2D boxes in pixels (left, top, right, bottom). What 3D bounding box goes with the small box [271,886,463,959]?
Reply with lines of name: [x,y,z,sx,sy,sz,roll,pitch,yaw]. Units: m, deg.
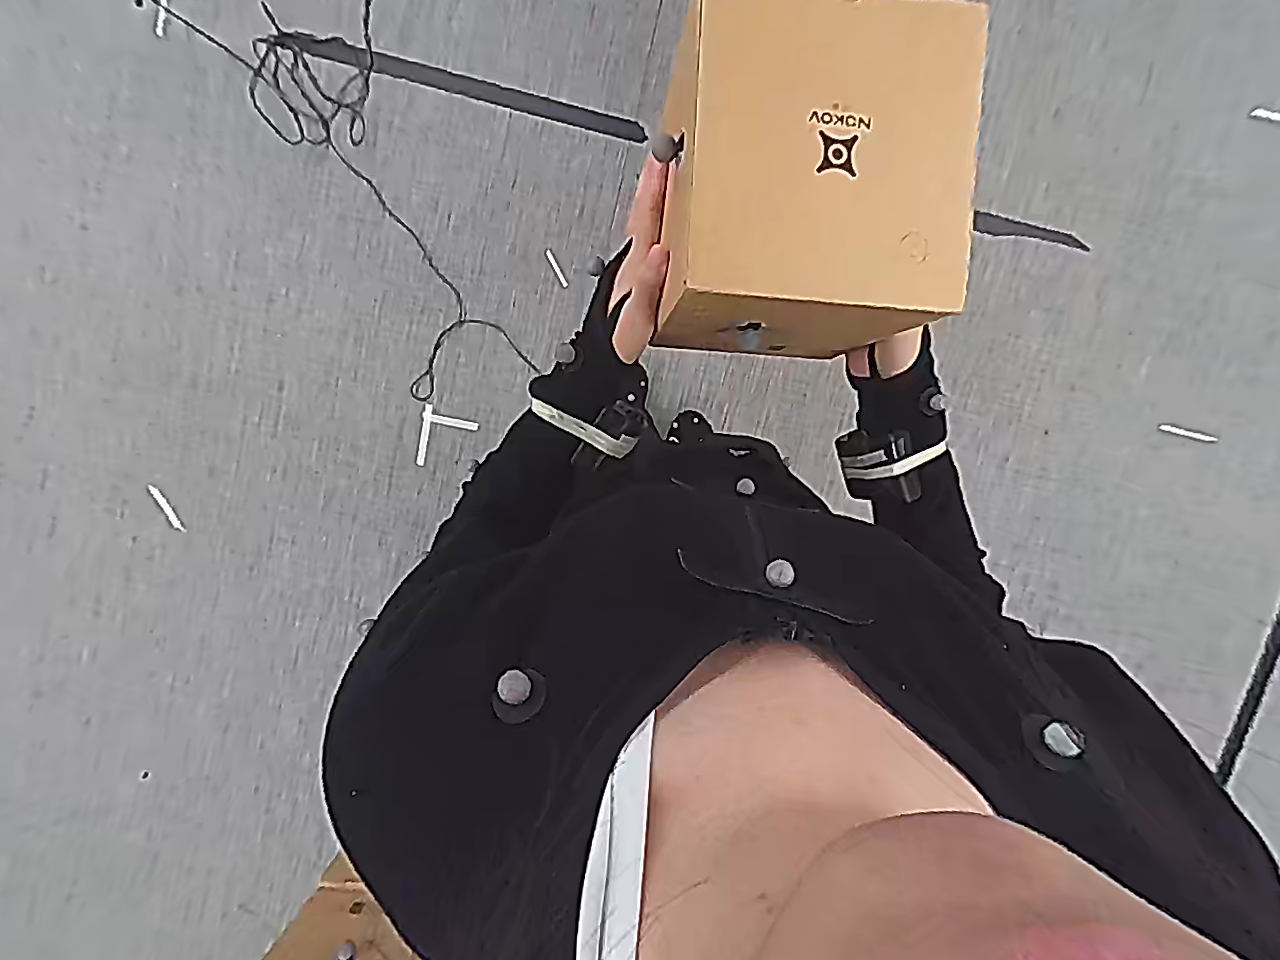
small box: [-0.284,0.547,0.532,0.168,0.176,0.179,2,95,2]

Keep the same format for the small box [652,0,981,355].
small box: [0.102,-0.192,0.385,0.168,0.176,0.179,2,92,-7]
